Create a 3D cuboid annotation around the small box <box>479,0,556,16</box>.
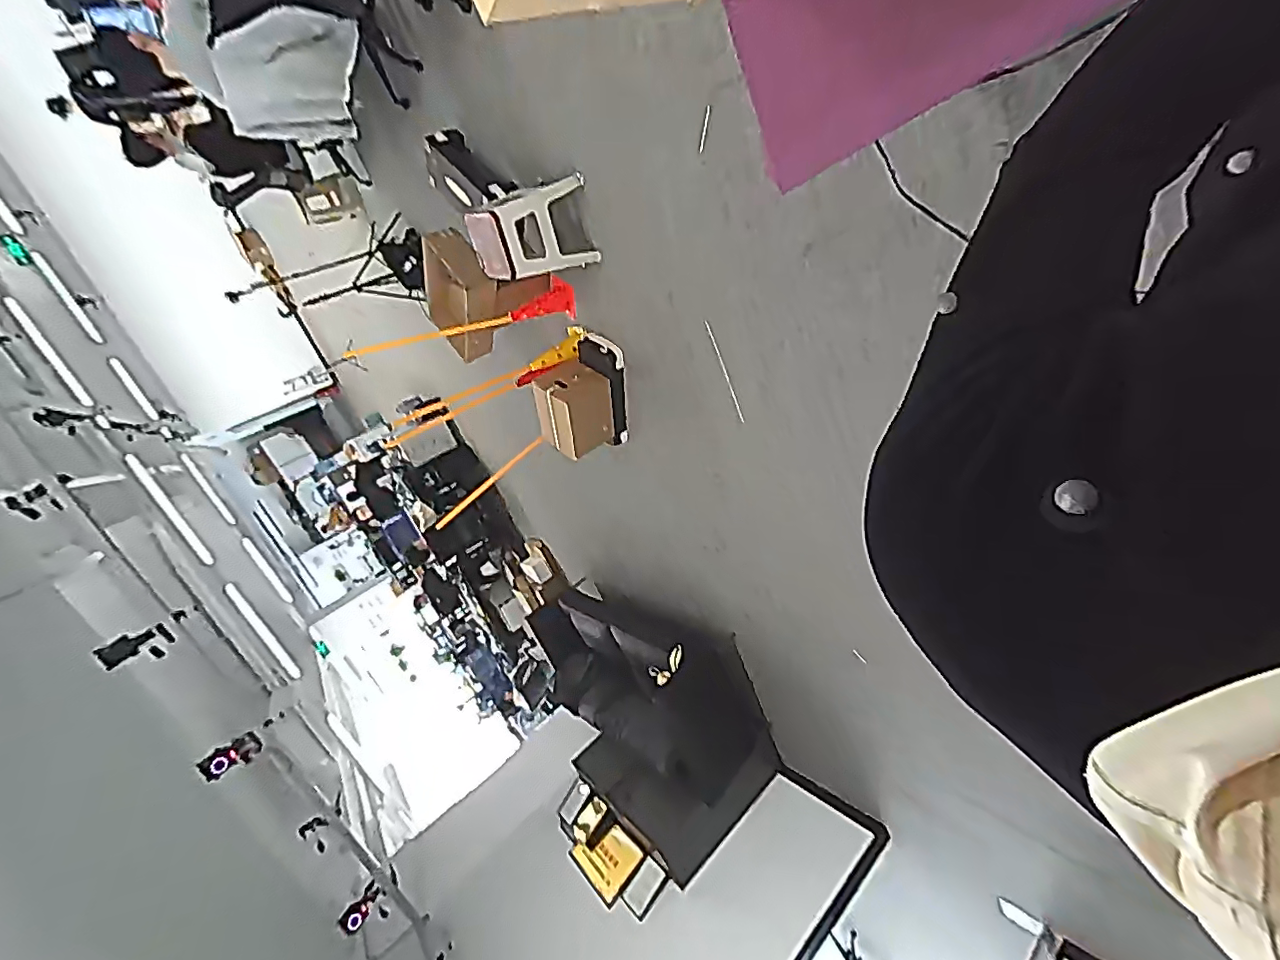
[{"bbox_3d":[-0.107,-0.637,0.554,0.168,0.176,0.179,0,120,59],"label":"small box"}]
